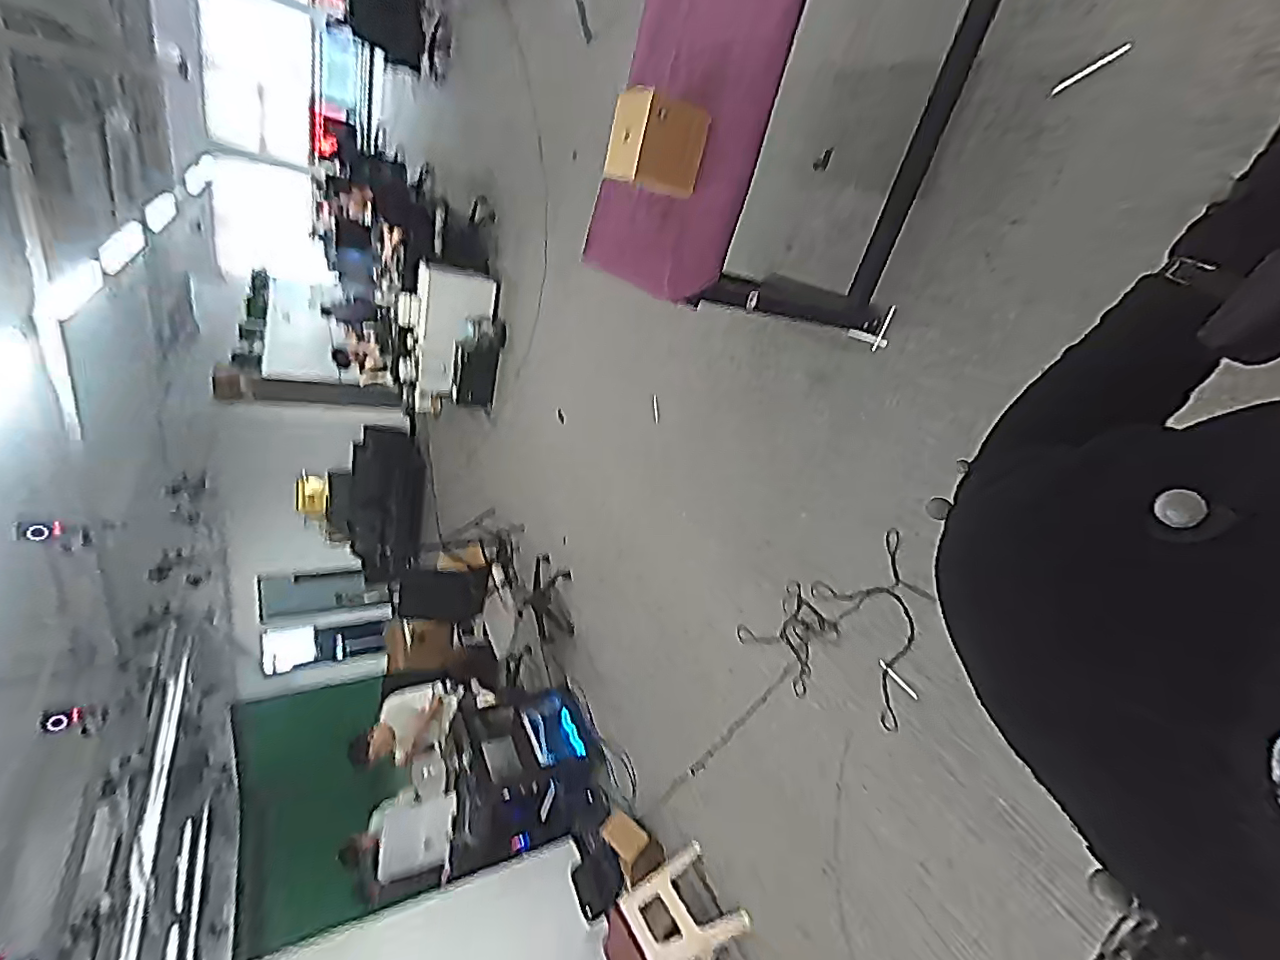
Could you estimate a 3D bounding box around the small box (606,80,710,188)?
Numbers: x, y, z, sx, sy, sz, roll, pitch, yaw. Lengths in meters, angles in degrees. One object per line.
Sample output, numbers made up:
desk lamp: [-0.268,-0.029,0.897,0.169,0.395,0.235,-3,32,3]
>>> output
small box: [0.042,-0.809,1.279,0.168,0.176,0.179,44,126,48]
